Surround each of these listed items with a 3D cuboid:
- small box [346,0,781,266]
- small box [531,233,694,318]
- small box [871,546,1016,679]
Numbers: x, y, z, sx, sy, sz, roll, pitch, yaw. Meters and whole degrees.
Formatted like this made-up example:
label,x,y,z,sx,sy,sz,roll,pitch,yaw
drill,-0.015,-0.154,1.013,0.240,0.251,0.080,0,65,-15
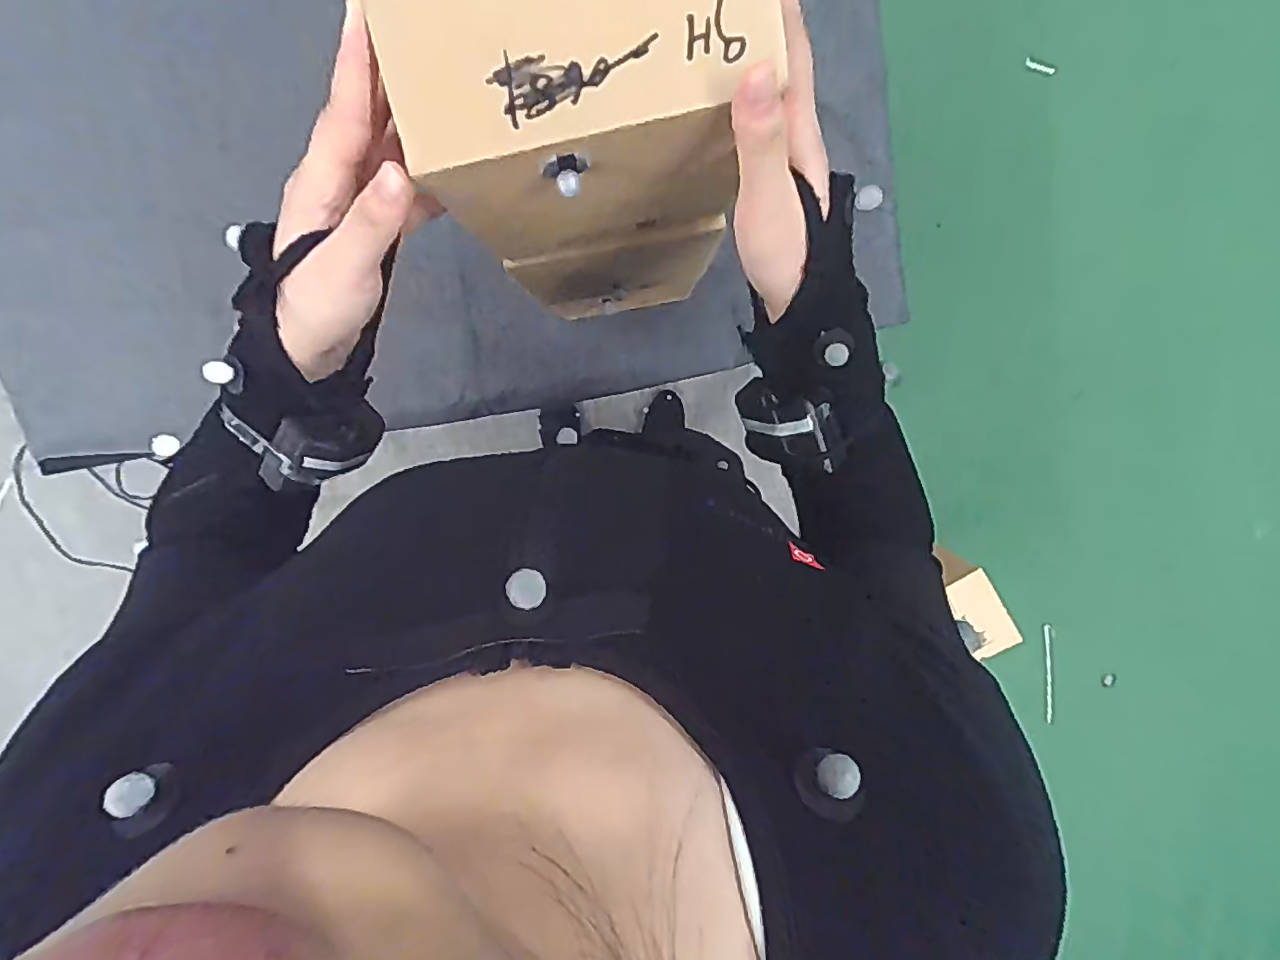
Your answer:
label,x,y,z,sx,sy,sz,roll,pitch,yaw
small box,-0.038,-0.232,0.284,0.168,0.176,0.179,-11,101,2
small box,-0.035,-0.287,0.611,0.168,0.176,0.179,-10,99,2
small box,0.615,0.264,1.116,0.168,0.176,0.179,-32,98,7
